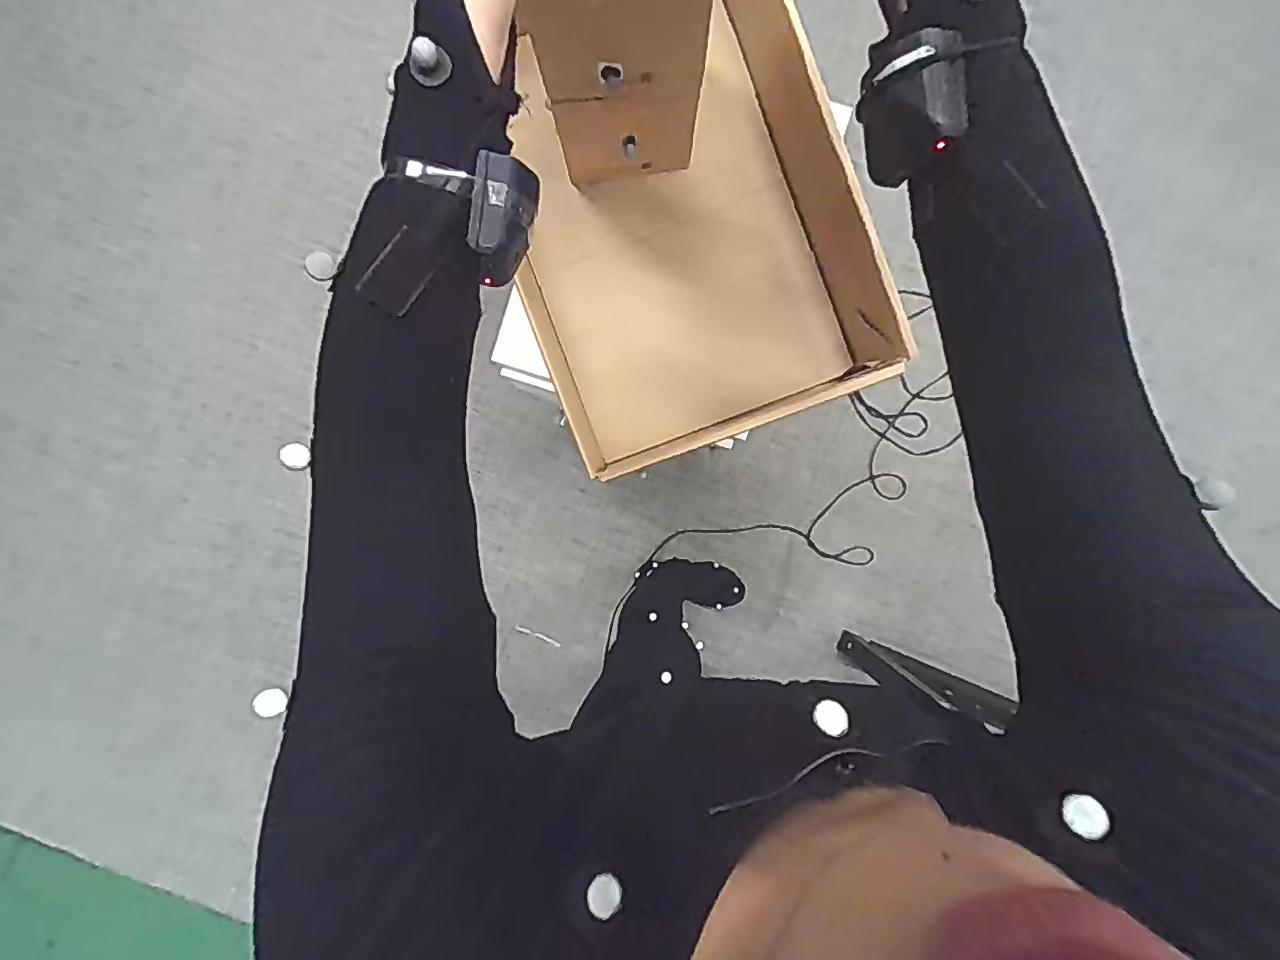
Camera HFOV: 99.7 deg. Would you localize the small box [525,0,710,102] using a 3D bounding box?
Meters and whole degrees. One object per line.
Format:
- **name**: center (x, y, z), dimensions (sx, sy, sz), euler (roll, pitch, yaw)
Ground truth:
- **small box**: center (-0.025, -0.495, 0.496), dimensions (0.168, 0.176, 0.179), euler (-5, 92, 3)
